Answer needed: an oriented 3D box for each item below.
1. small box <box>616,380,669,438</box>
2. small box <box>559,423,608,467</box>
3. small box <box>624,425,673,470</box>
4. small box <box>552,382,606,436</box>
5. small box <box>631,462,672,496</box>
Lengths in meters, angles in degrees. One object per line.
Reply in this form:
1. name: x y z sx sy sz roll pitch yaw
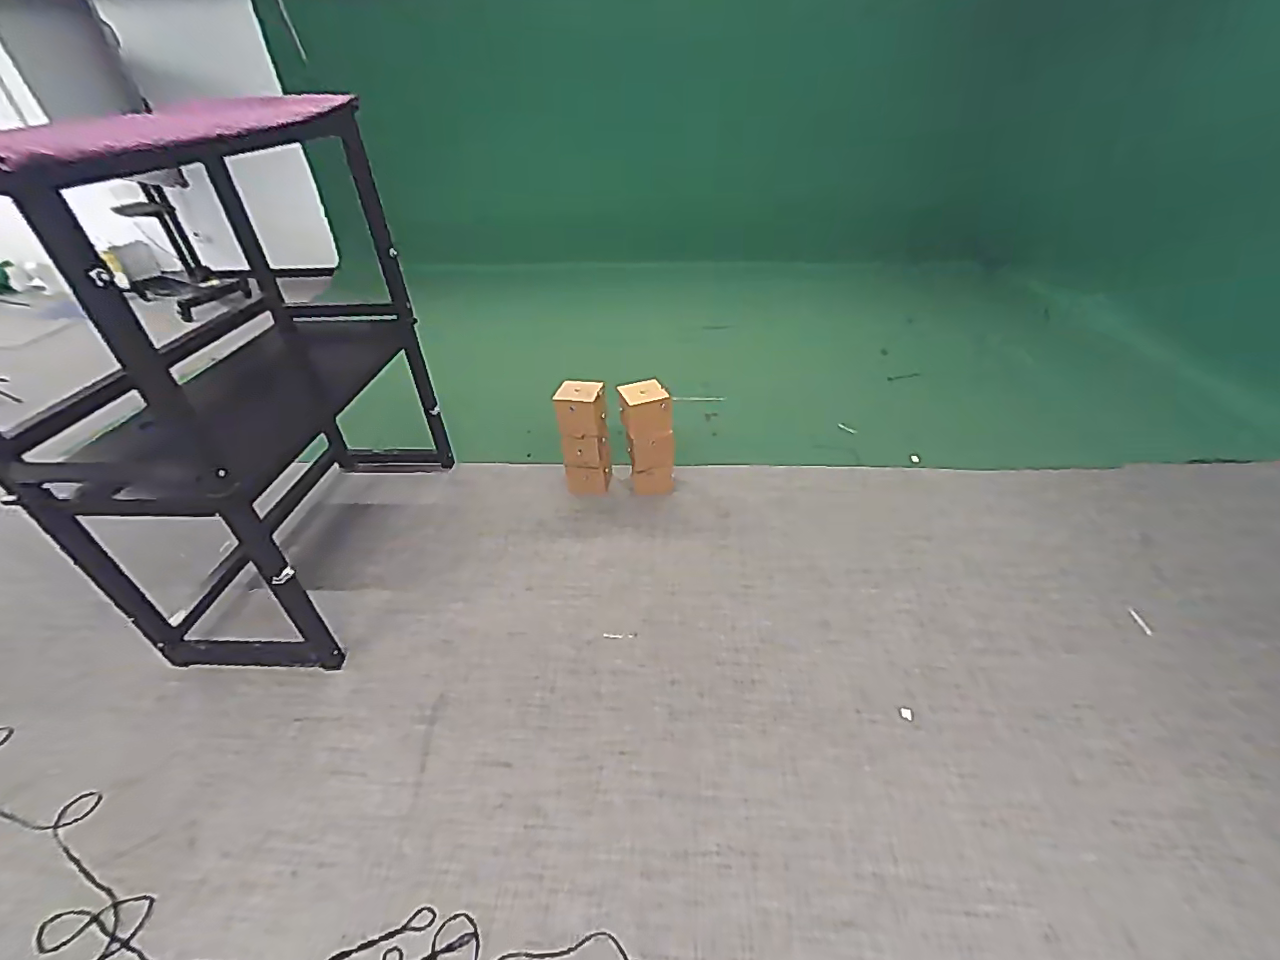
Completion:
1. small box: 0.014 -0.291 2.234 0.179 0.176 0.168 -15 40 -16
2. small box: -0.241 -0.170 2.357 0.168 0.176 0.179 4 38 9
3. small box: 0.036 -0.160 2.330 0.179 0.176 0.168 -11 40 -12
4. small box: -0.248 -0.294 2.247 0.179 0.176 0.168 6 38 12
5. small box: 0.051 -0.039 2.436 0.179 0.176 0.168 -4 38 -2
